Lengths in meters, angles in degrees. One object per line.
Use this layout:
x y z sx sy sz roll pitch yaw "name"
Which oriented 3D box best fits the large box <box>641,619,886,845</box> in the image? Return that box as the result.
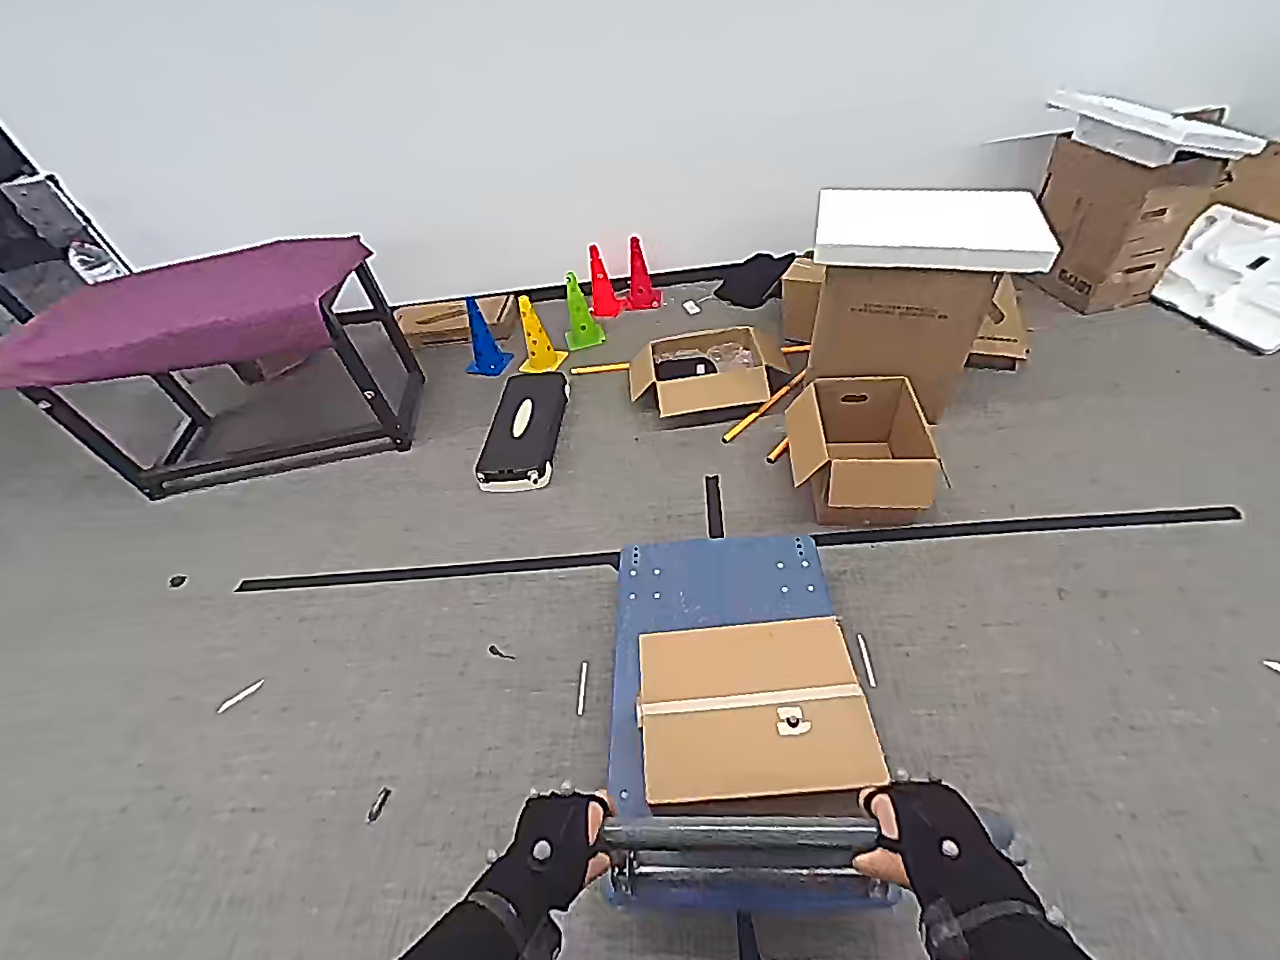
0.221 0.520 1.111 0.408 0.320 0.320 -6 45 3 "large box"
